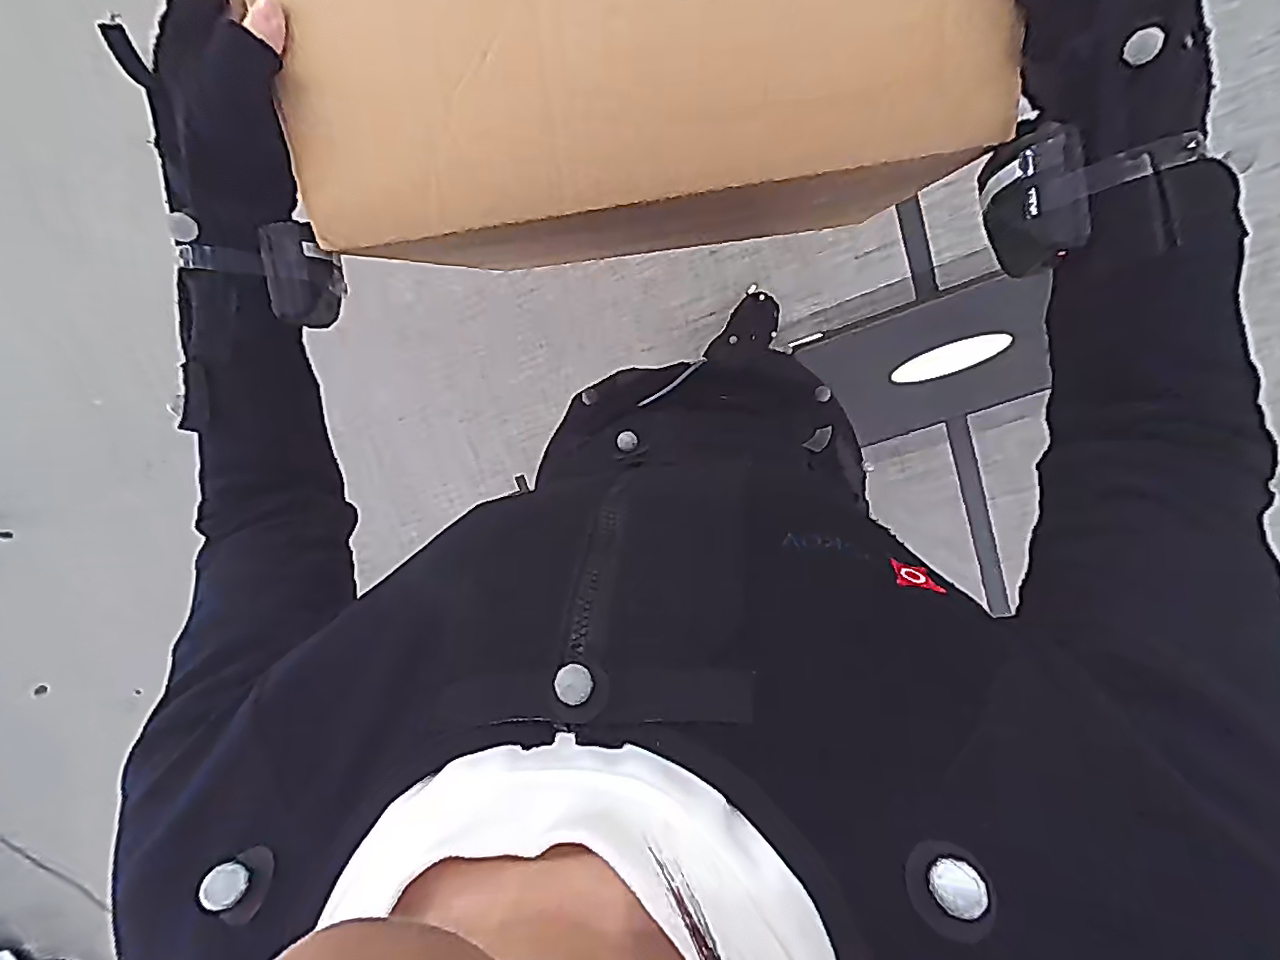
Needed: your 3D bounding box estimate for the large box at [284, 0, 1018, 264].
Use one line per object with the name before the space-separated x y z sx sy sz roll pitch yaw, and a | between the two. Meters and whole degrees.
large box | 0.003 -0.366 0.417 0.408 0.320 0.320 -4 109 9
